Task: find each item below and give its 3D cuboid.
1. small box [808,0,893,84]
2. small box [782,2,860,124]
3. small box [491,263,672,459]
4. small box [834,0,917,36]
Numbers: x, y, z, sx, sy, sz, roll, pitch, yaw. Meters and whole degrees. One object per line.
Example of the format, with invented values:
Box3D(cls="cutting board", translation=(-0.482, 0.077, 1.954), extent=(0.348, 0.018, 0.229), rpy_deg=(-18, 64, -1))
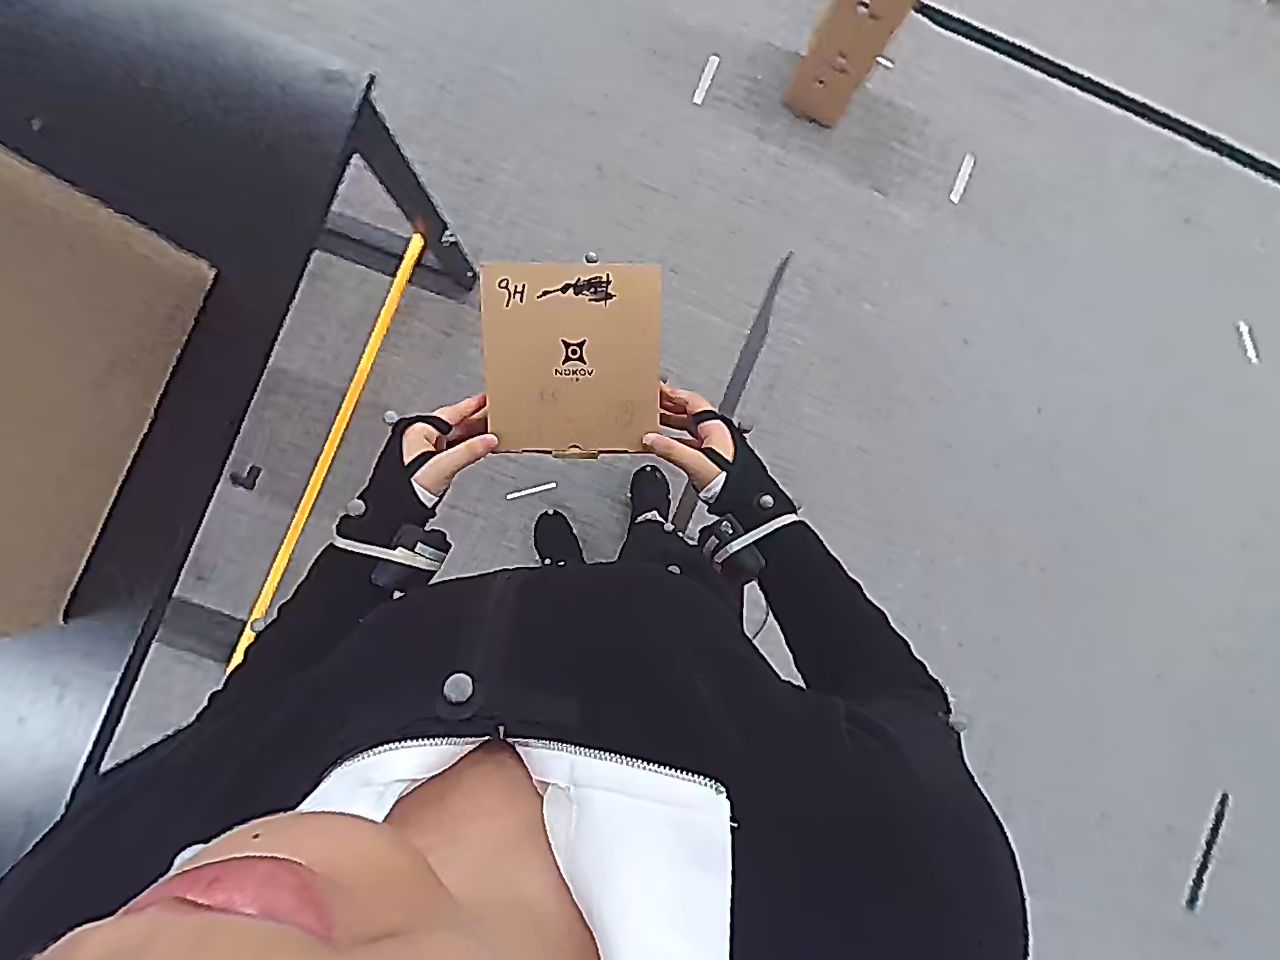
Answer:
Box3D(cls="small box", translation=(0.535, -1.128, 1.311), extent=(0.168, 0.176, 0.179), rpy_deg=(25, 88, -3))
Box3D(cls="small box", translation=(0.515, -1.125, 1.475), extent=(0.179, 0.176, 0.168), rpy_deg=(25, 88, -4))
Box3D(cls="small box", translation=(-0.057, -0.126, 0.581), extent=(0.168, 0.176, 0.179), rpy_deg=(1, 103, -3))
Box3D(cls="small box", translation=(0.542, -1.116, 1.148), extent=(0.168, 0.176, 0.179), rpy_deg=(25, 89, -3))
